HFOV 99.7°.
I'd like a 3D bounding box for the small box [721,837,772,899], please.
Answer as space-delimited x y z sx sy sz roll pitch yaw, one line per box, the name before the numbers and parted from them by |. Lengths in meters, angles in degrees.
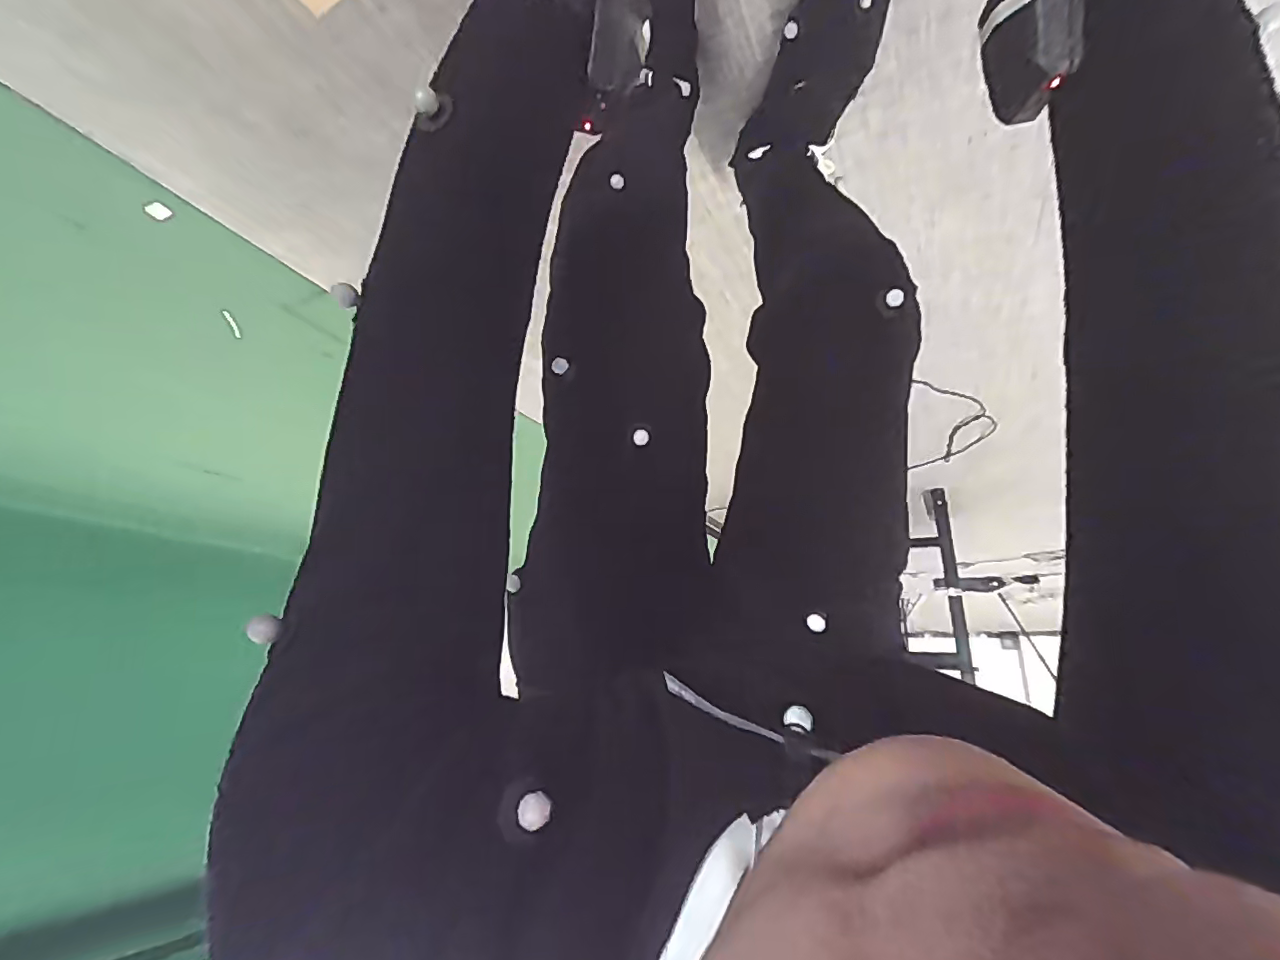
small box | 0.453 1.645 2.301 0.179 0.176 0.168 -8 158 23
